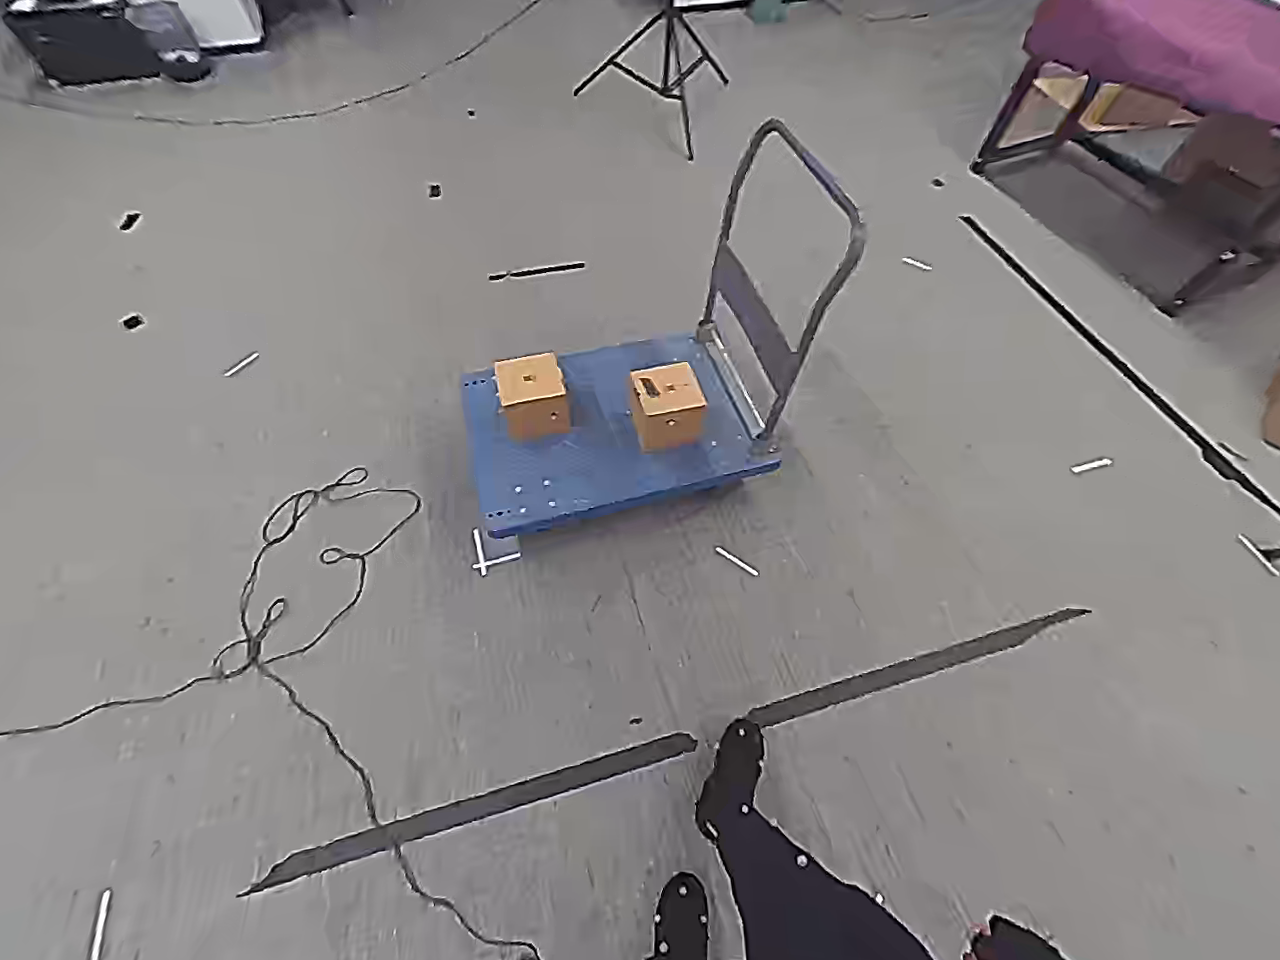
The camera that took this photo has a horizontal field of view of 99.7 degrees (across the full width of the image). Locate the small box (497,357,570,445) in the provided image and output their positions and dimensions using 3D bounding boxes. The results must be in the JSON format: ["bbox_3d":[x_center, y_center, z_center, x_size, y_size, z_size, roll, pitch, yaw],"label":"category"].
[{"bbox_3d":[-0.301,-0.224,1.558,0.179,0.176,0.168,-13,58,-10],"label":"small box"}]

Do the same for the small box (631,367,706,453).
[{"bbox_3d":[0.076,-0.195,1.552,0.179,0.176,0.168,-11,58,-10],"label":"small box"}]
